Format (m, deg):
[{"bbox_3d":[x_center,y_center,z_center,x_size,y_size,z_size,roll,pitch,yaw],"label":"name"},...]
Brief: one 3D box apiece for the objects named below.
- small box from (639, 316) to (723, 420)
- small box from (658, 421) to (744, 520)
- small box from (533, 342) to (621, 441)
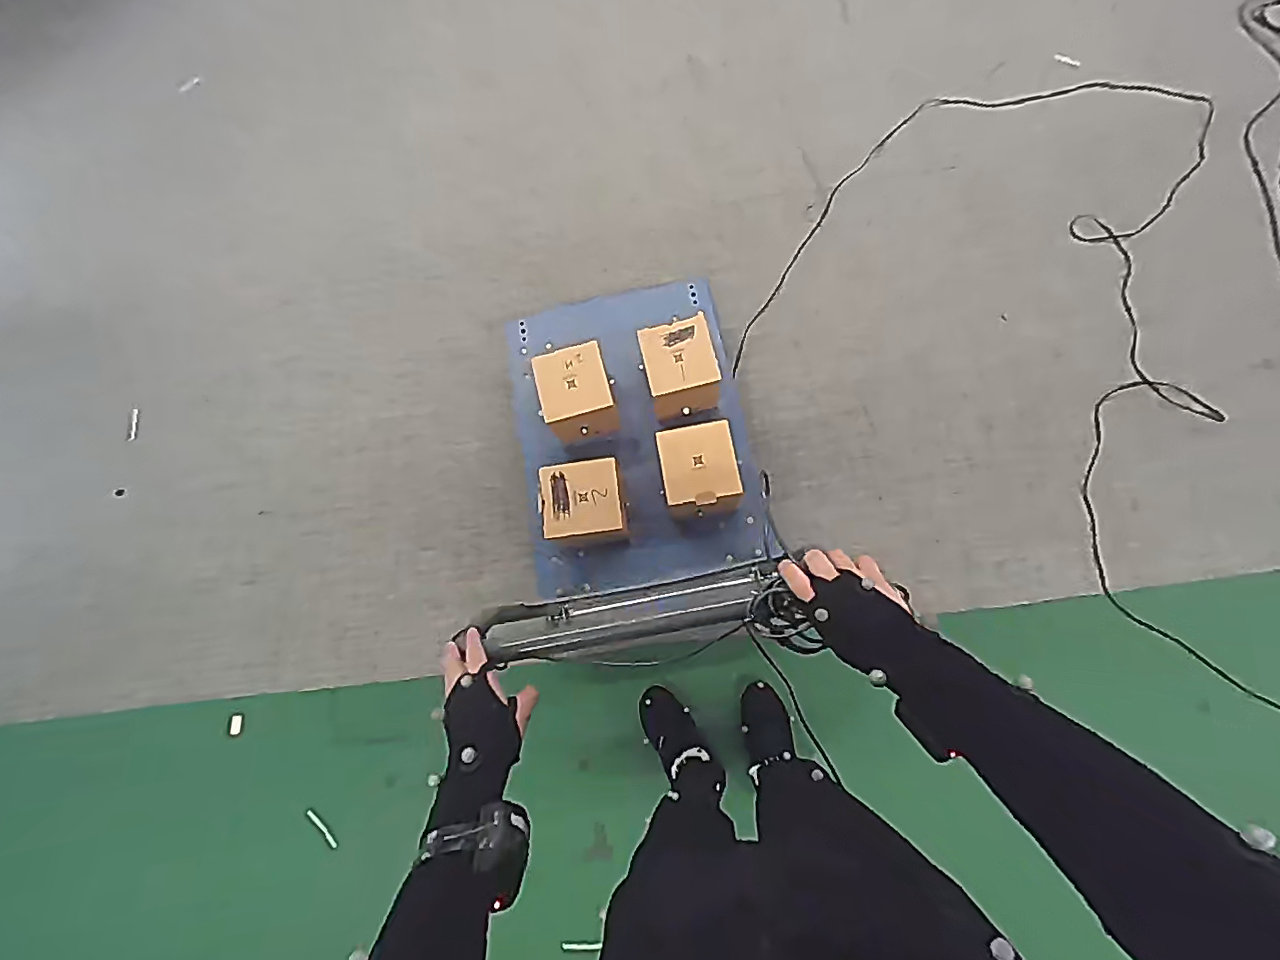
[{"bbox_3d":[0.100,-0.269,1.332,0.168,0.176,0.179,-14,75,3],"label":"small box"},{"bbox_3d":[0.138,-0.017,1.265,0.168,0.176,0.179,-10,75,3],"label":"small box"},{"bbox_3d":[-0.150,-0.210,1.341,0.168,0.176,0.179,-15,74,1],"label":"small box"}]
